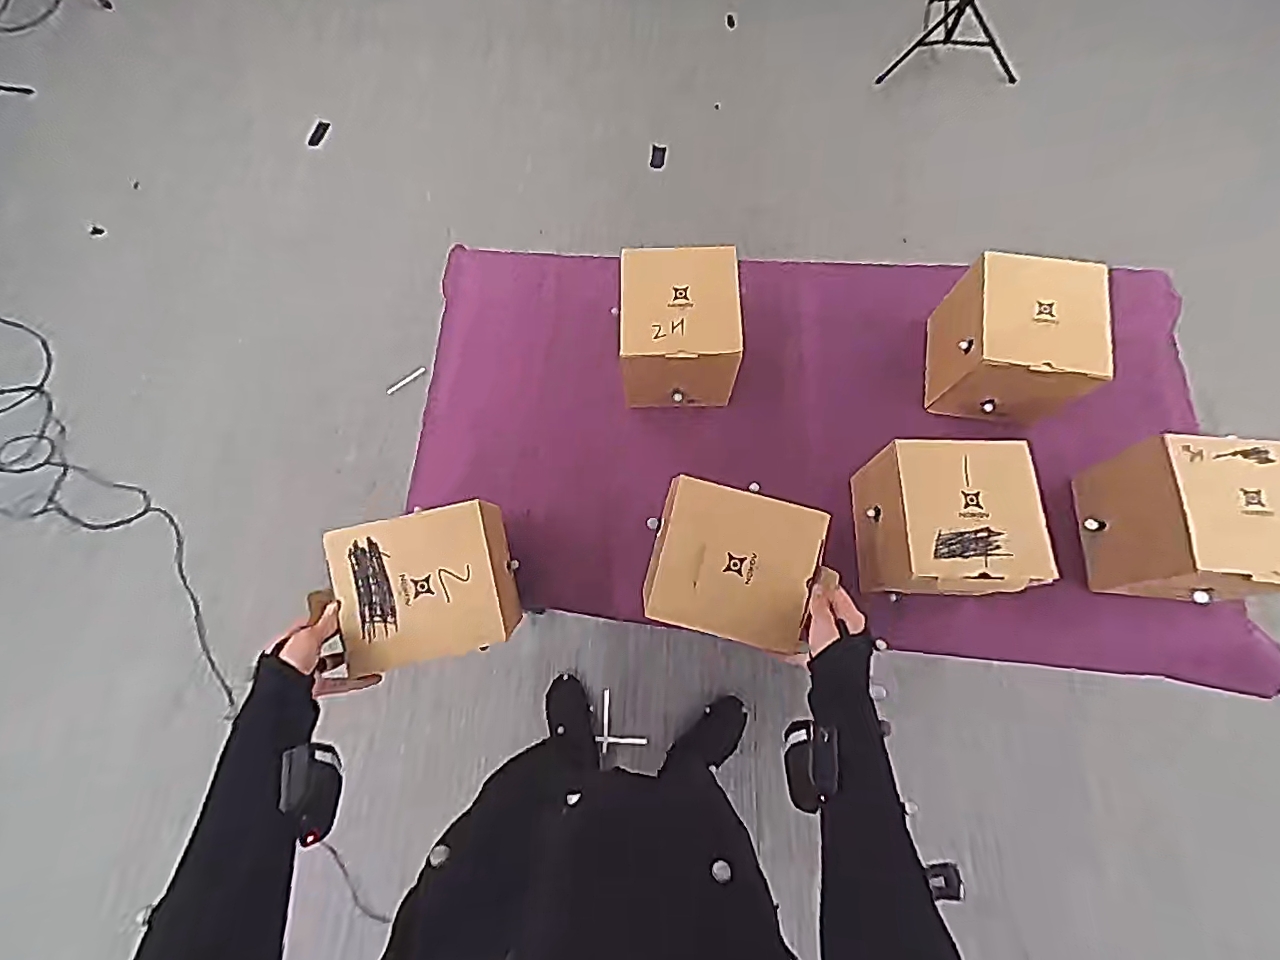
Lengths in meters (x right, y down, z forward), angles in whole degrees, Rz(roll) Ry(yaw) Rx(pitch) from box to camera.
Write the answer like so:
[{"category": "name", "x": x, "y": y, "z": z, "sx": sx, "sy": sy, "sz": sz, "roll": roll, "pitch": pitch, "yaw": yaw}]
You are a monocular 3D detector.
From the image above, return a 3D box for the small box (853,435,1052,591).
[{"category": "small box", "x": 0.398, "y": 0.053, "z": 0.724, "sx": 0.168, "sy": 0.176, "sz": 0.179, "roll": 1, "pitch": 72, "yaw": 3}]

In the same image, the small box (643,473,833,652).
[{"category": "small box", "x": 0.109, "y": 0.093, "z": 0.679, "sx": 0.179, "sy": 0.176, "sz": 0.168, "roll": 15, "pitch": 87, "yaw": -1}]

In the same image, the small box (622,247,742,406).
[{"category": "small box", "x": 0.060, "y": -0.228, "z": 0.827, "sx": 0.168, "sy": 0.176, "sz": 0.179, "roll": 0, "pitch": 73, "yaw": 2}]

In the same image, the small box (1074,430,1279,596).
[{"category": "small box", "x": 0.721, "y": 0.052, "z": 0.709, "sx": 0.168, "sy": 0.176, "sz": 0.179, "roll": 5, "pitch": 71, "yaw": 4}]

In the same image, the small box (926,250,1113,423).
[{"category": "small box", "x": 0.546, "y": -0.205, "z": 0.802, "sx": 0.168, "sy": 0.176, "sz": 0.179, "roll": 9, "pitch": 75, "yaw": 5}]
